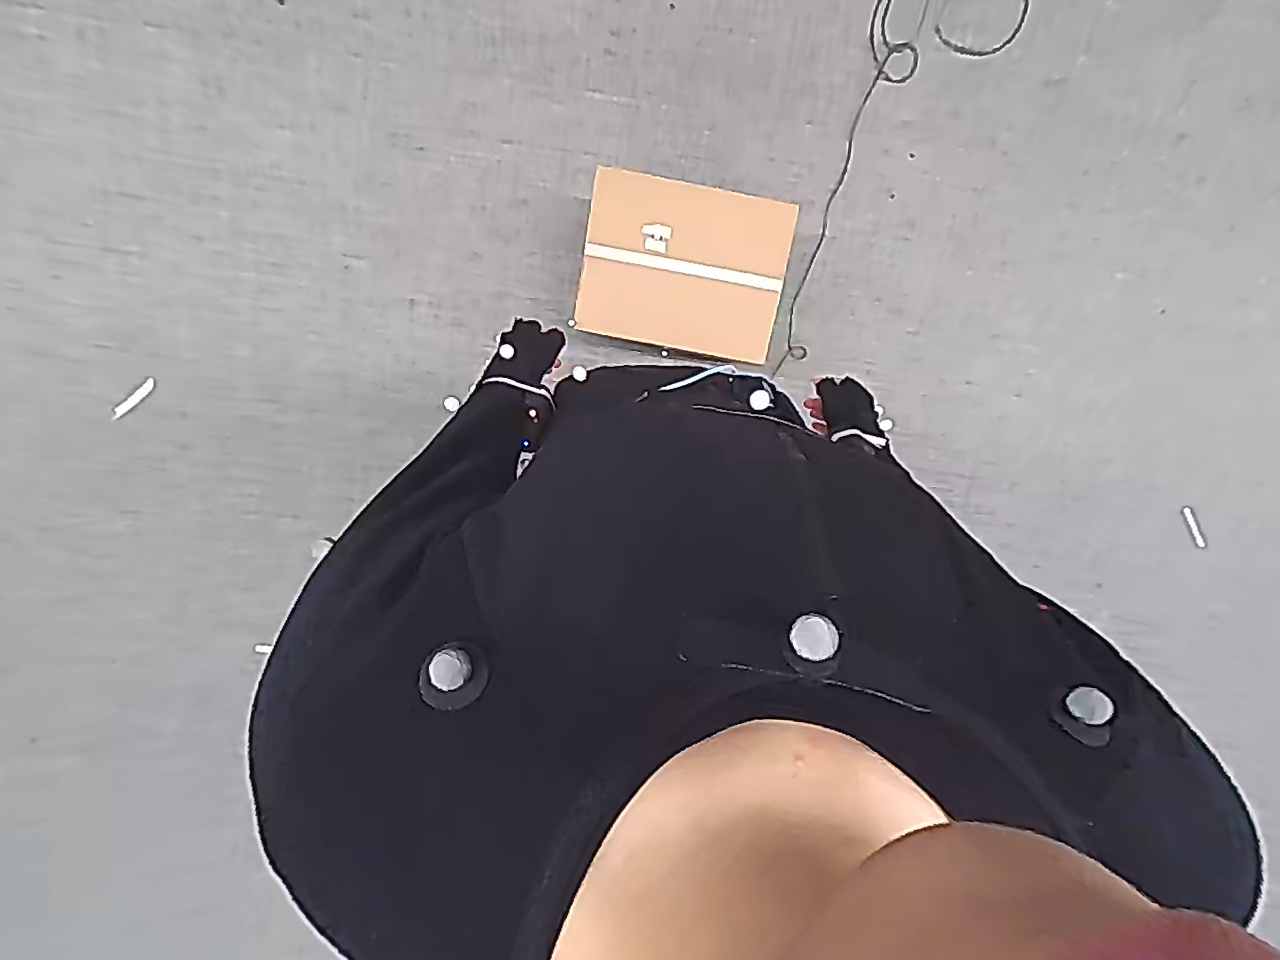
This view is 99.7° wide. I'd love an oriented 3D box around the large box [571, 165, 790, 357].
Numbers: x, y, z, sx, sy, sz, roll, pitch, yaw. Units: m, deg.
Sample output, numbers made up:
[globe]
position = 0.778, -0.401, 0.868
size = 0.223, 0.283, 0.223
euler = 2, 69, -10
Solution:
[large box]
position = 0.079, -0.470, 1.233
size = 0.408, 0.320, 0.320
euler = 10, 103, -3
